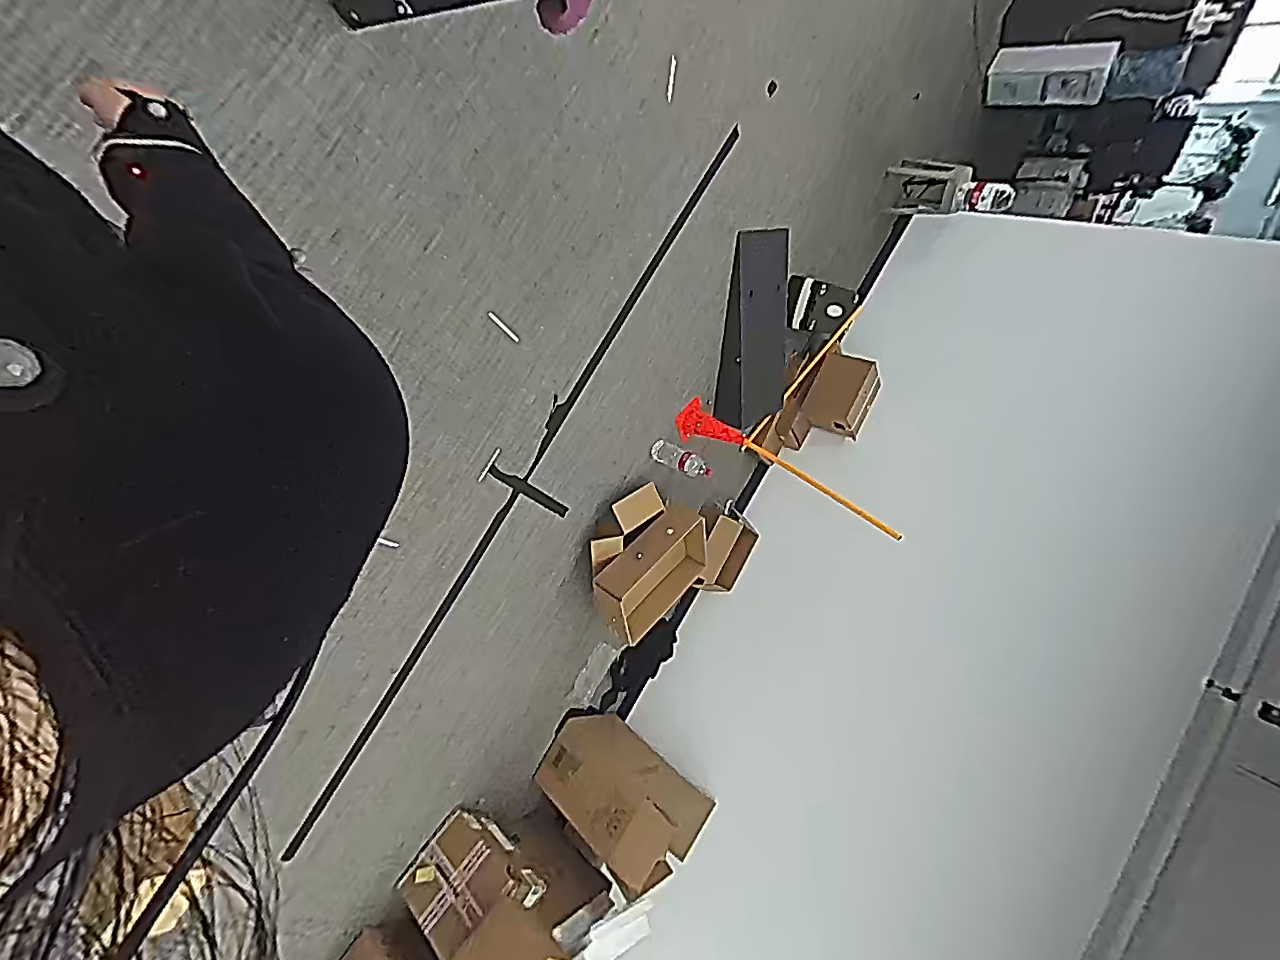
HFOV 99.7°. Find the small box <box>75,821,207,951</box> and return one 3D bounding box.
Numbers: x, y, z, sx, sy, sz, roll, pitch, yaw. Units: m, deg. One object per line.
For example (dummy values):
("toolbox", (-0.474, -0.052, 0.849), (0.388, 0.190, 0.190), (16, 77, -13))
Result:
("small box", (-1.227, 0.983, 1.327), (0.179, 0.176, 0.168), (-57, 147, -10))
